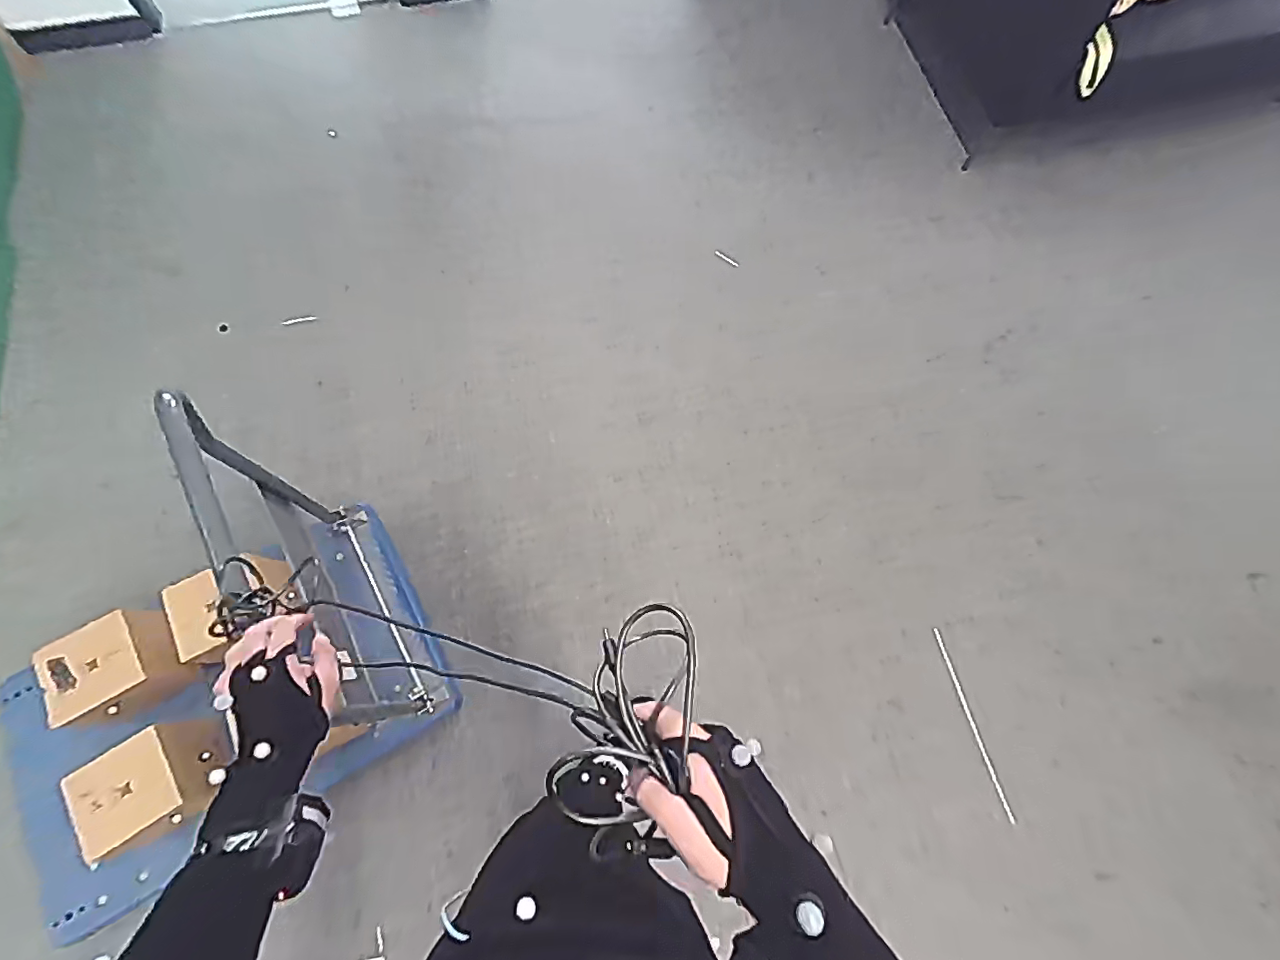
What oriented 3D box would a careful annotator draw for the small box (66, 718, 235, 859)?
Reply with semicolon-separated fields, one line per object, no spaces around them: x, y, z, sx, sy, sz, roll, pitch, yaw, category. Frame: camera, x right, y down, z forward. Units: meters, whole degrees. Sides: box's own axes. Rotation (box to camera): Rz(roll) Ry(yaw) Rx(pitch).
-0.964;0.603;1.087;0.179;0.176;0.168;-32;75;-12;small box

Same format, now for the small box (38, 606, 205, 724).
-1.094;0.392;1.153;0.179;0.176;0.168;-30;76;-12;small box

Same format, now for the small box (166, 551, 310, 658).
-0.881;0.282;1.198;0.179;0.176;0.168;-27;75;-11;small box
